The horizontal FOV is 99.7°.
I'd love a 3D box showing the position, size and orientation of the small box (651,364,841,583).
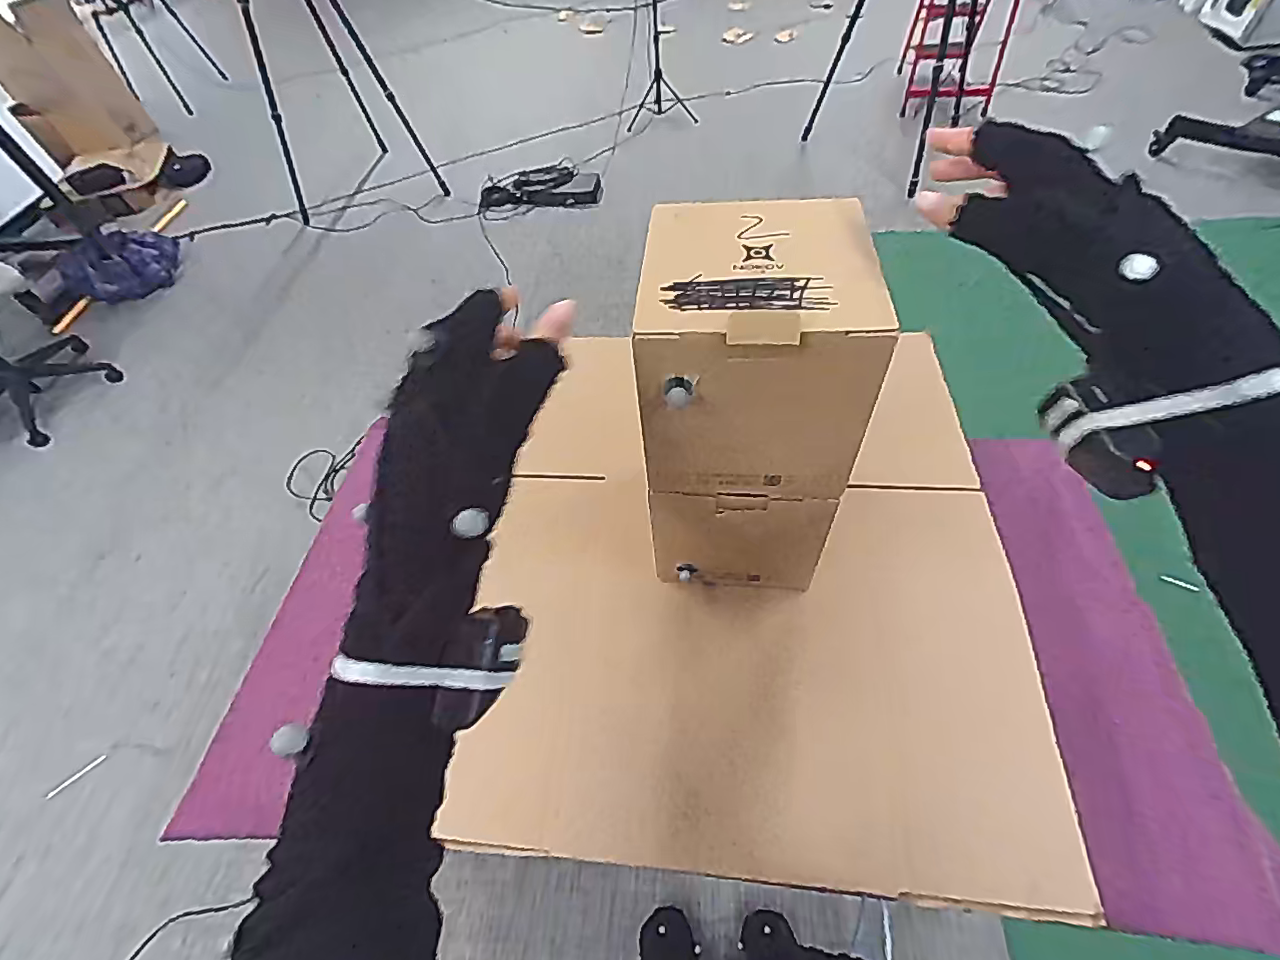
[{"bbox_3d":[0.103,-0.001,0.576,0.168,0.176,0.179,0,54,5],"label":"small box"}]
